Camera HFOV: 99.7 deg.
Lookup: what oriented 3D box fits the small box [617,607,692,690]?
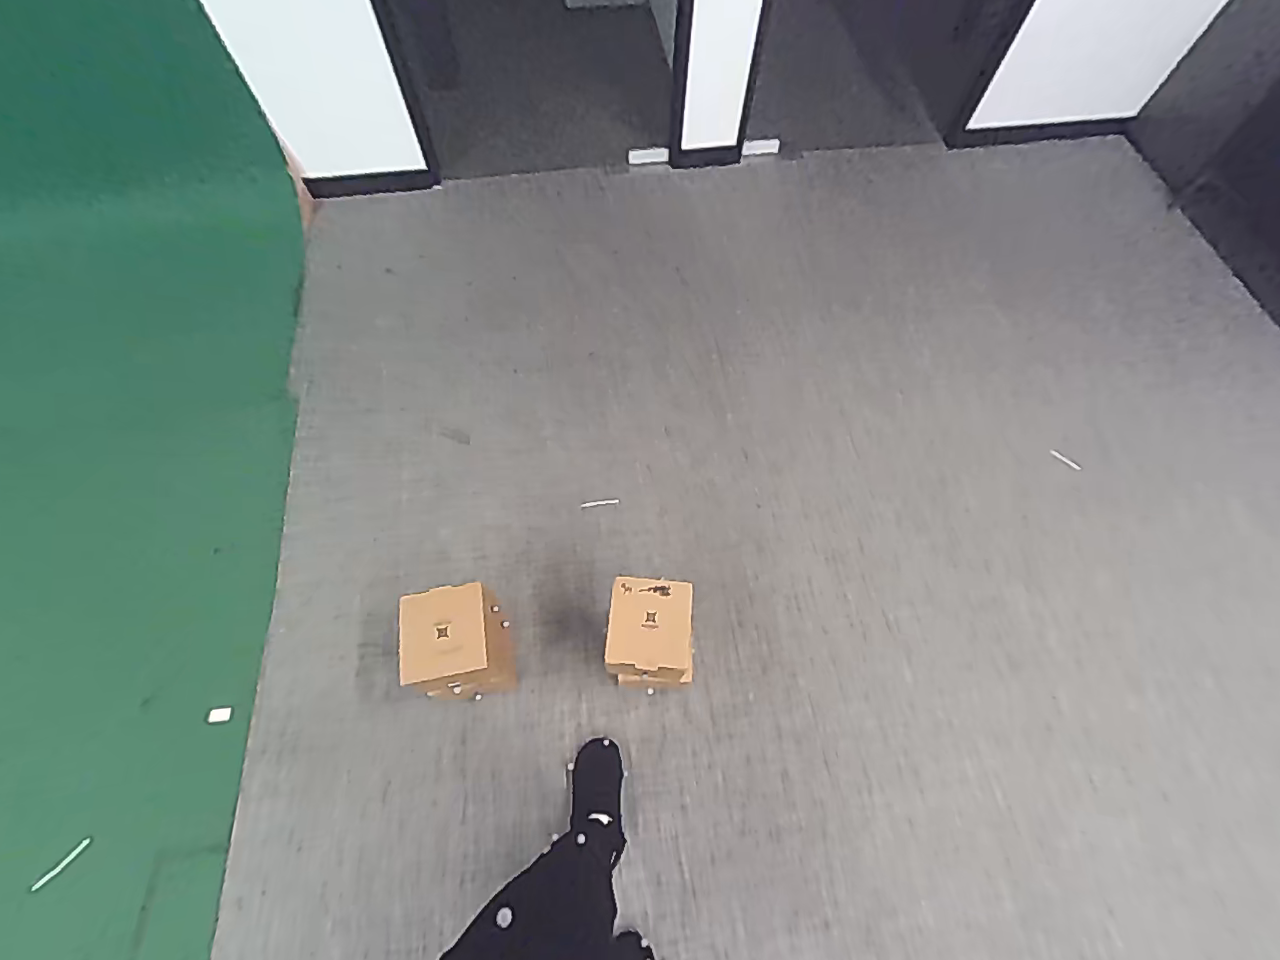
[{"bbox_3d":[0.032,0.395,1.285,0.168,0.176,0.179,2,64,-1],"label":"small box"}]

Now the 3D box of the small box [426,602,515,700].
[{"bbox_3d":[-0.396,0.403,1.268,0.168,0.176,0.179,-11,64,-7],"label":"small box"}]

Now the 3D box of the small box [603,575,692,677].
[{"bbox_3d":[0.017,0.314,1.143,0.168,0.176,0.179,6,64,1],"label":"small box"}]

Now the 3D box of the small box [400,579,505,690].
[{"bbox_3d":[-0.386,0.326,1.127,0.168,0.176,0.179,-11,65,-6],"label":"small box"}]
